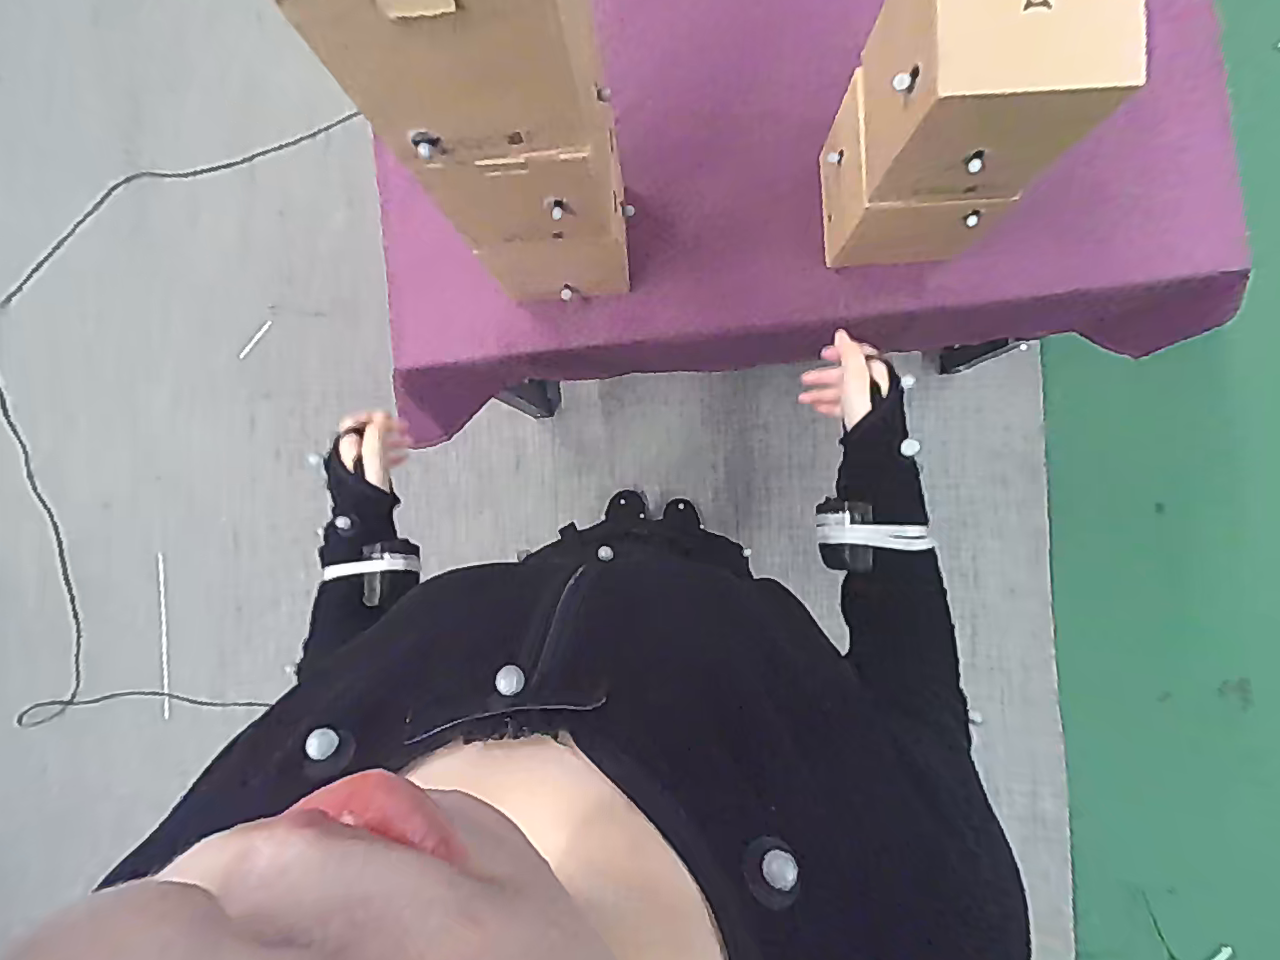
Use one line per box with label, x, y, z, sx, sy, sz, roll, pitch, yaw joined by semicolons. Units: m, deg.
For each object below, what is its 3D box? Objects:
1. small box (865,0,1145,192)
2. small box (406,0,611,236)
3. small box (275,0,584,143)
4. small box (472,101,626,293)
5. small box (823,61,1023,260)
small box;0.328;-0.401;0.519;0.168;0.176;0.179;0;89;3
small box;-0.120;-0.366;0.550;0.168;0.176;0.179;-1;89;3
small box;-0.137;-0.373;0.386;0.168;0.176;0.179;-5;88;3
small box;-0.110;-0.359;0.713;0.179;0.176;0.168;-3;89;3
small box;0.339;-0.393;0.683;0.179;0.176;0.168;-2;89;3
